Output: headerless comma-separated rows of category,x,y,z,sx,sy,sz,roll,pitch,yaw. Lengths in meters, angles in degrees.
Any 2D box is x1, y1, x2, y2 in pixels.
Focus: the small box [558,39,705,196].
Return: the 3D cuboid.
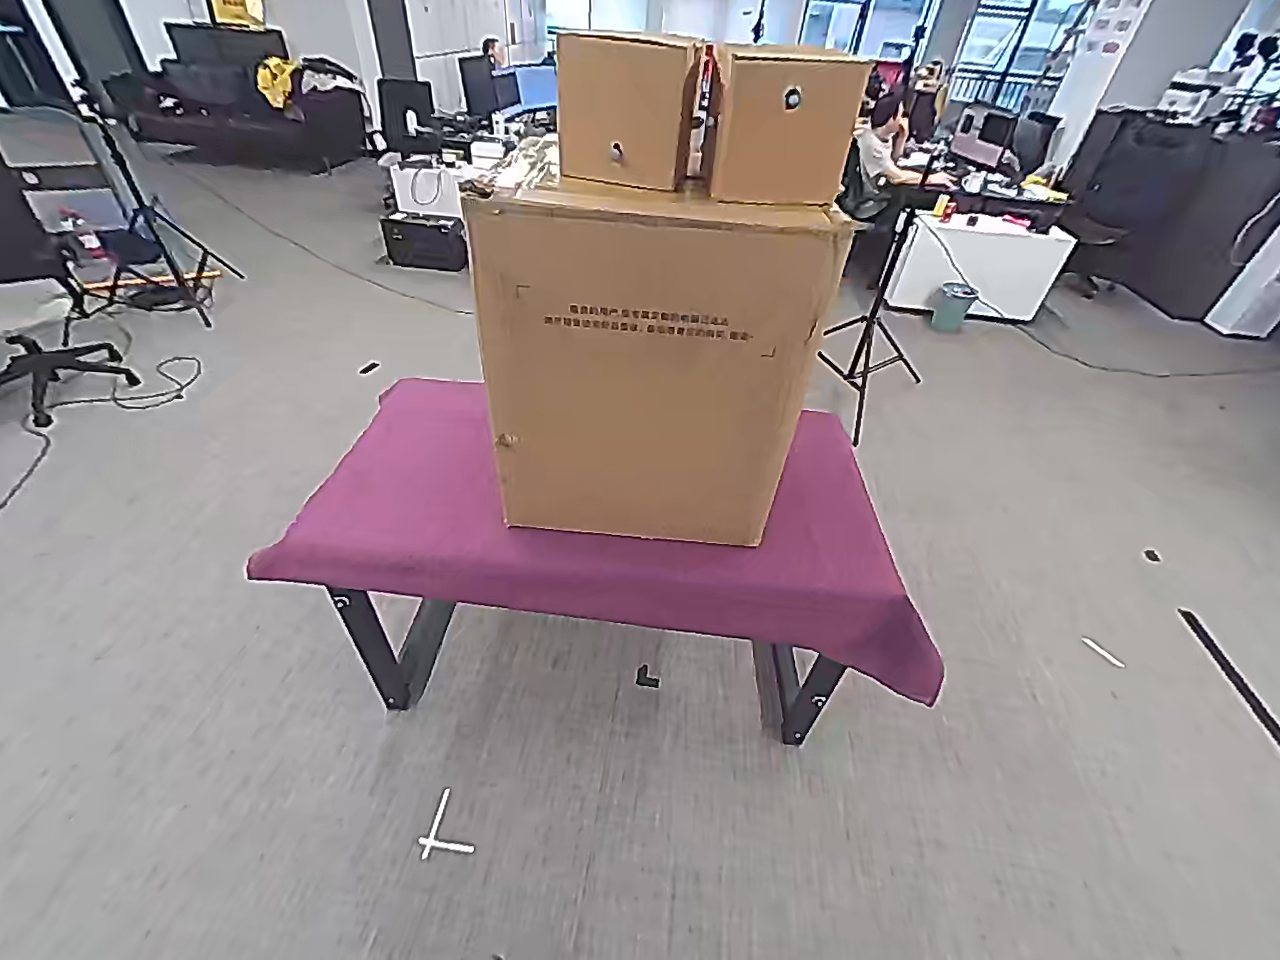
small box,-0.013,-0.539,0.808,0.179,0.176,0.168,13,41,7
